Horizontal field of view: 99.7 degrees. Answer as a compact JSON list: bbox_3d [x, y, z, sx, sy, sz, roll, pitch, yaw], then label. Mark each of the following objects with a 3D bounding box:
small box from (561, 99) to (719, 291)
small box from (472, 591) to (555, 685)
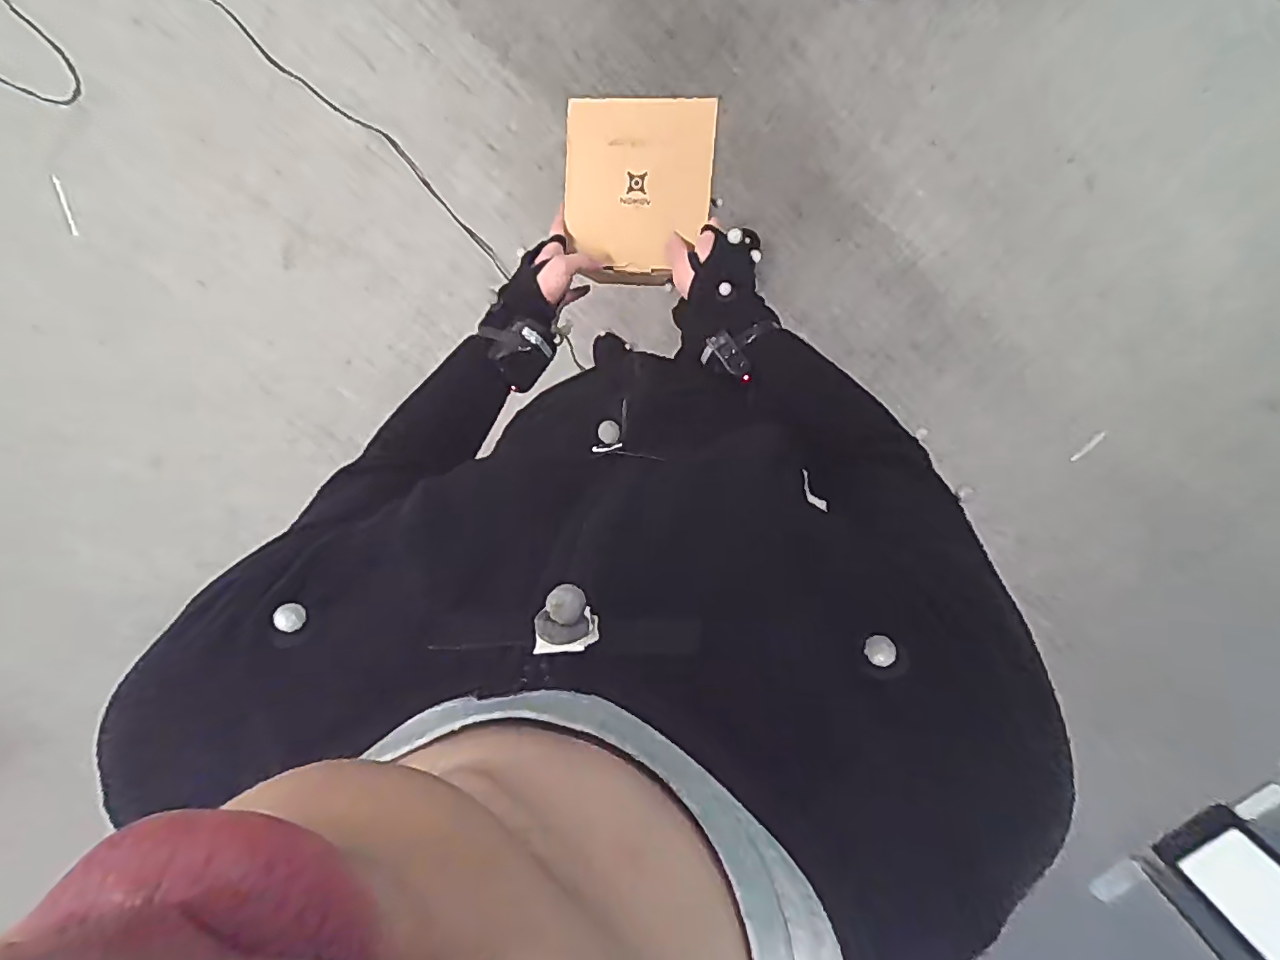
[{"bbox_3d":[0.007,-0.334,0.665,0.168,0.176,0.179,5,102,7],"label":"small box"},{"bbox_3d":[-0.370,0.467,1.627,0.168,0.176,0.179,38,104,-10],"label":"small box"}]
